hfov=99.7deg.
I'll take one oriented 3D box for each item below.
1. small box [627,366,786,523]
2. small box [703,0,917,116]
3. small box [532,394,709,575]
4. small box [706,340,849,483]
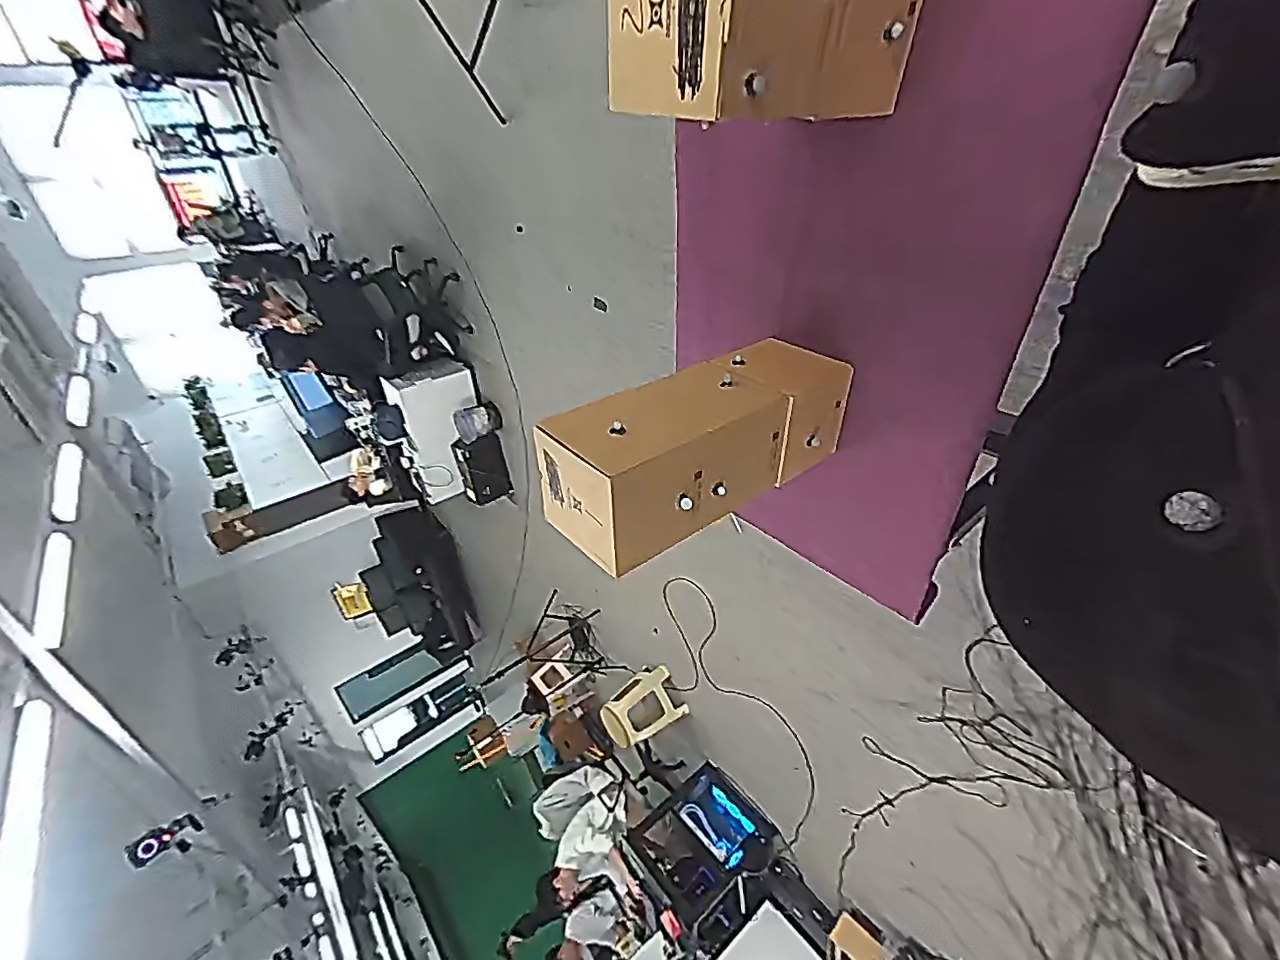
[{"bbox_3d":[0.098,-0.066,0.845,0.179,0.176,0.168,34,139,41],"label":"small box"},{"bbox_3d":[0.202,-0.547,0.651,0.179,0.176,0.168,38,141,36],"label":"small box"},{"bbox_3d":[-0.028,-0.006,0.757,0.179,0.176,0.168,34,138,39],"label":"small box"},{"bbox_3d":[0.228,-0.126,0.926,0.179,0.176,0.168,34,138,40],"label":"small box"}]
